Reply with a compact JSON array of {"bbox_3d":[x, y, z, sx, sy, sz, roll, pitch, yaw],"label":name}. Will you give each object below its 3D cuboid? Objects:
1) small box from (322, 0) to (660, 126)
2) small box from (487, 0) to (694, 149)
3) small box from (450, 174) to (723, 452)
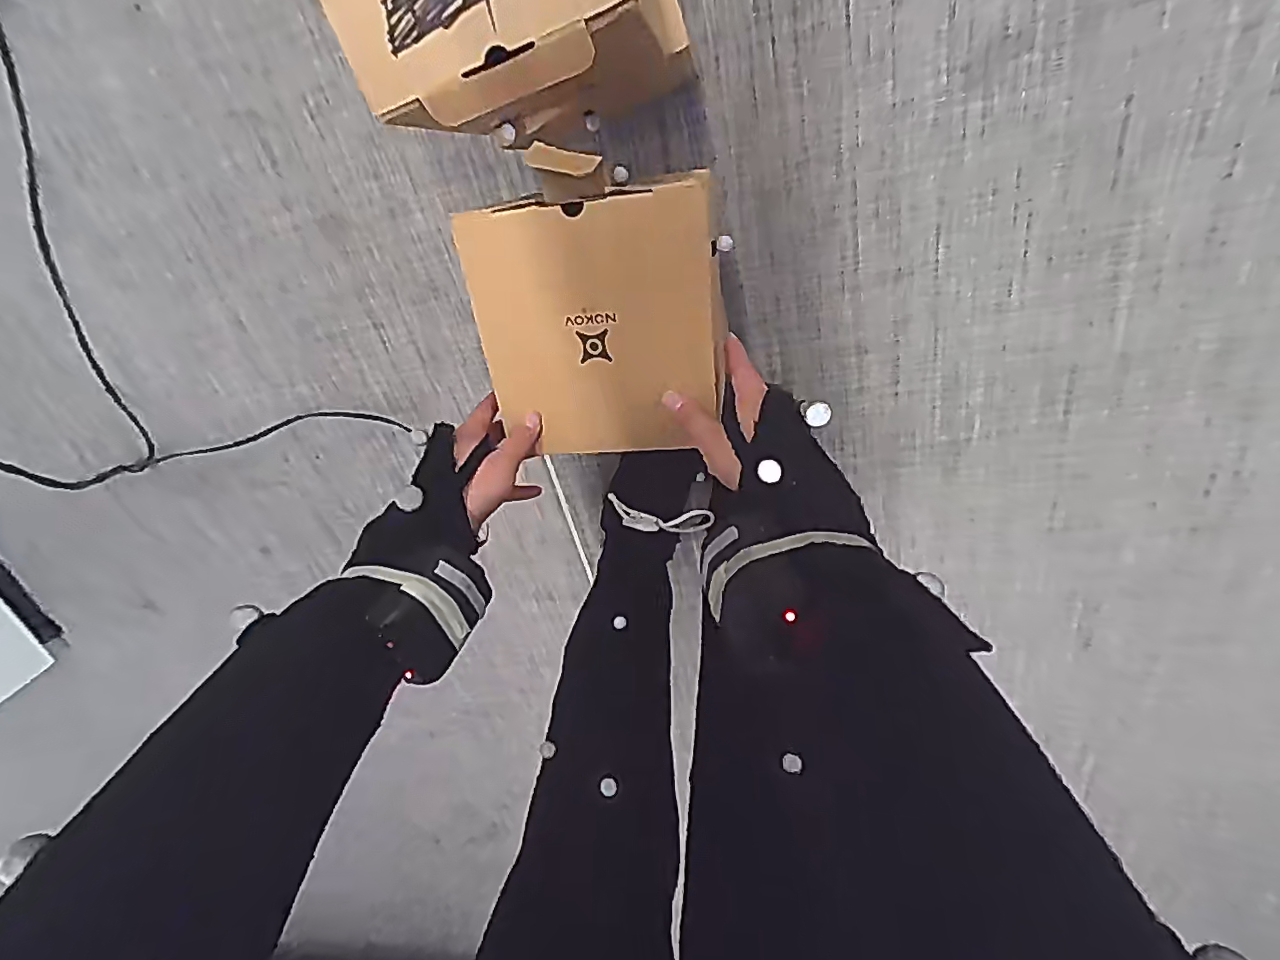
[{"bbox_3d":[-0.092,-0.339,0.330,0.168,0.176,0.179,-12,116,15],"label":"small box"},{"bbox_3d":[-0.062,-0.413,0.475,0.179,0.176,0.168,-17,116,18],"label":"small box"},{"bbox_3d":[-0.020,-0.139,0.441,0.168,0.176,0.179,-2,119,11],"label":"small box"}]
